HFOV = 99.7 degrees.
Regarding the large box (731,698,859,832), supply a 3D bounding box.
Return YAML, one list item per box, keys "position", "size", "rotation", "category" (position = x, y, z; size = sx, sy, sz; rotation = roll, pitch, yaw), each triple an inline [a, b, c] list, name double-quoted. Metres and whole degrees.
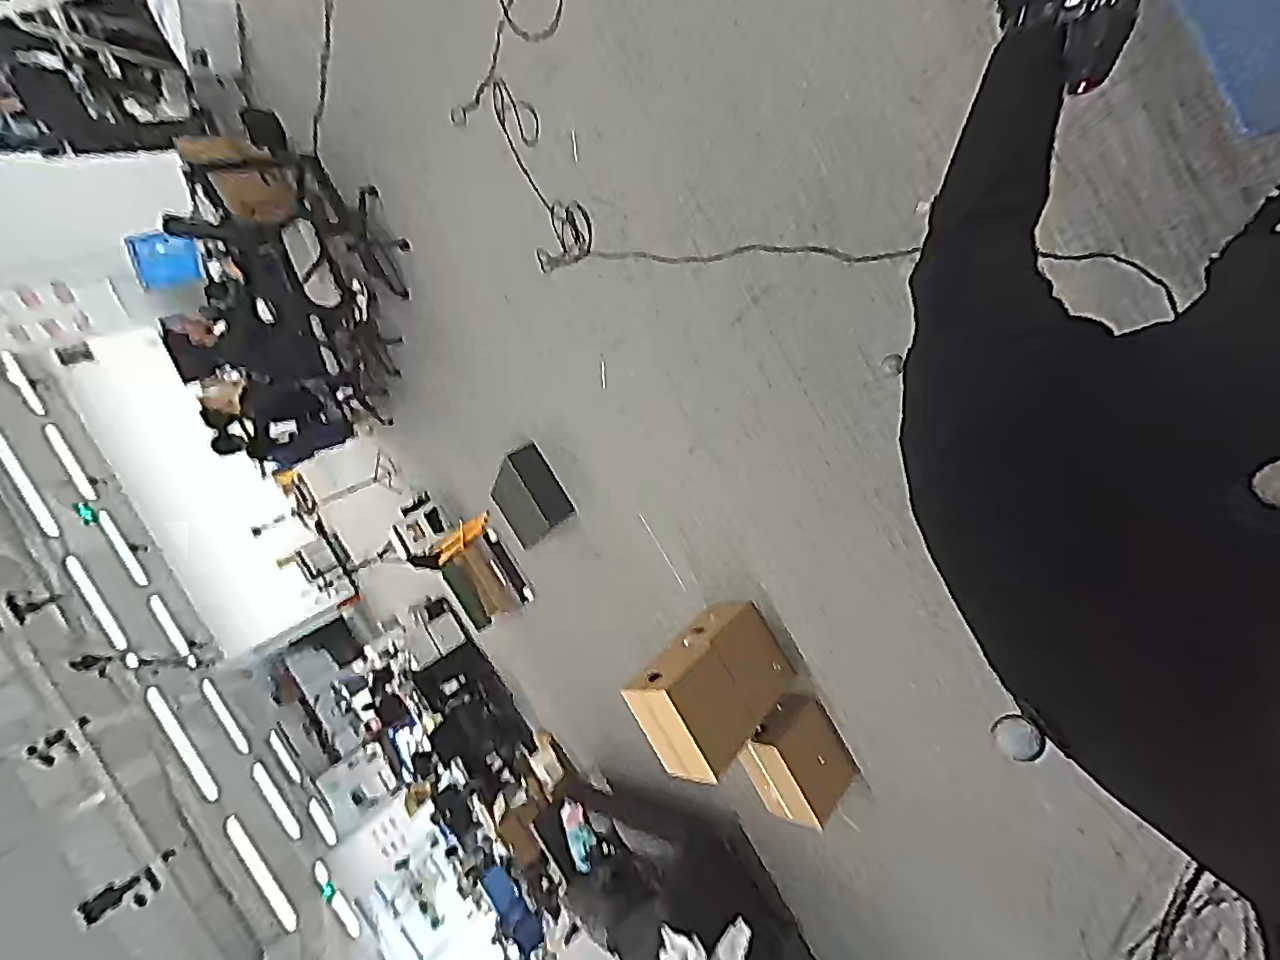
- position: [0.684, 1.234, 2.390]
  size: [0.320, 0.320, 0.408]
  rotation: [-27, 94, 55]
  category: "large box"
